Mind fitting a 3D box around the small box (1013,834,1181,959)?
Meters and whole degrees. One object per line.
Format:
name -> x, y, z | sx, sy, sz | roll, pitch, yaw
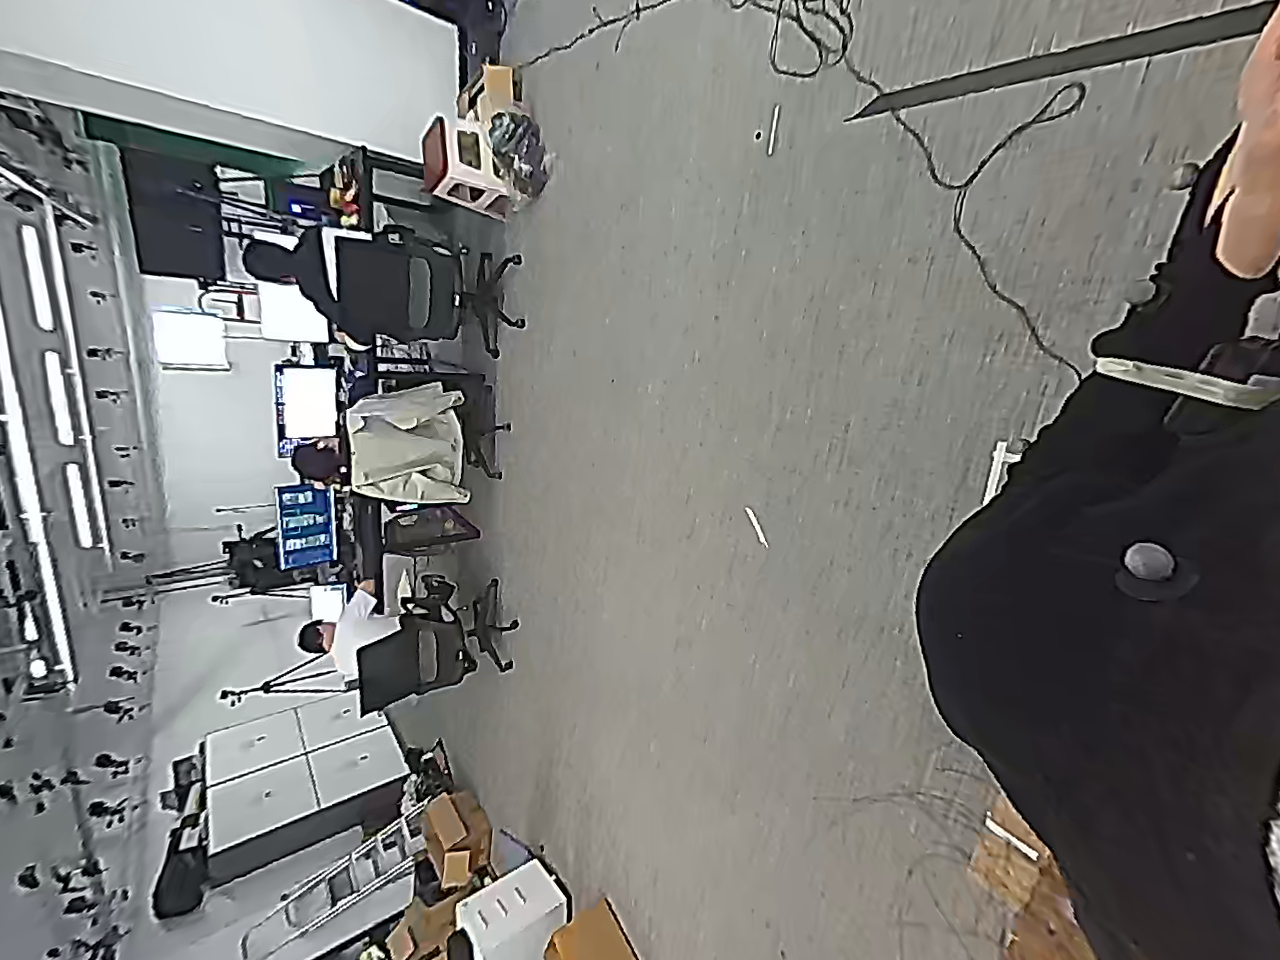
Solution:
small box -> 0.810, 0.782, 0.959 | 0.179, 0.176, 0.168 | 23, 112, 49
